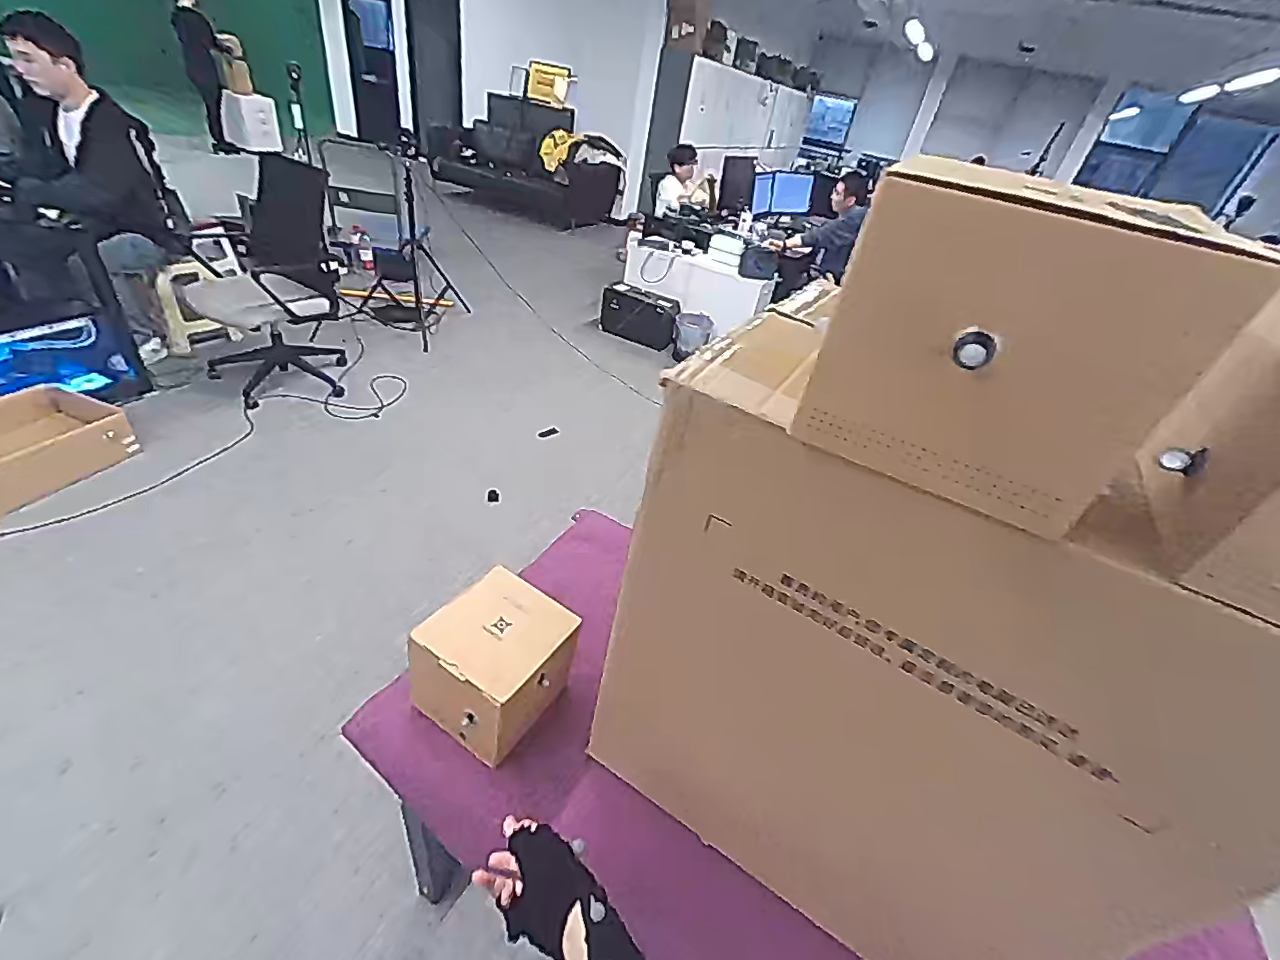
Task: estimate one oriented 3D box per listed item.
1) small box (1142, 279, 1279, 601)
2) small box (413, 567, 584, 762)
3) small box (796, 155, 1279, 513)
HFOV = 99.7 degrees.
[{"bbox_3d":[0.434,-0.015,0.298,0.168,0.176,0.179,27,40,20],"label":"small box"},{"bbox_3d":[-0.207,0.270,0.797,0.168,0.176,0.179,29,36,17],"label":"small box"},{"bbox_3d":[0.230,-0.102,0.362,0.179,0.176,0.168,24,39,19],"label":"small box"}]
